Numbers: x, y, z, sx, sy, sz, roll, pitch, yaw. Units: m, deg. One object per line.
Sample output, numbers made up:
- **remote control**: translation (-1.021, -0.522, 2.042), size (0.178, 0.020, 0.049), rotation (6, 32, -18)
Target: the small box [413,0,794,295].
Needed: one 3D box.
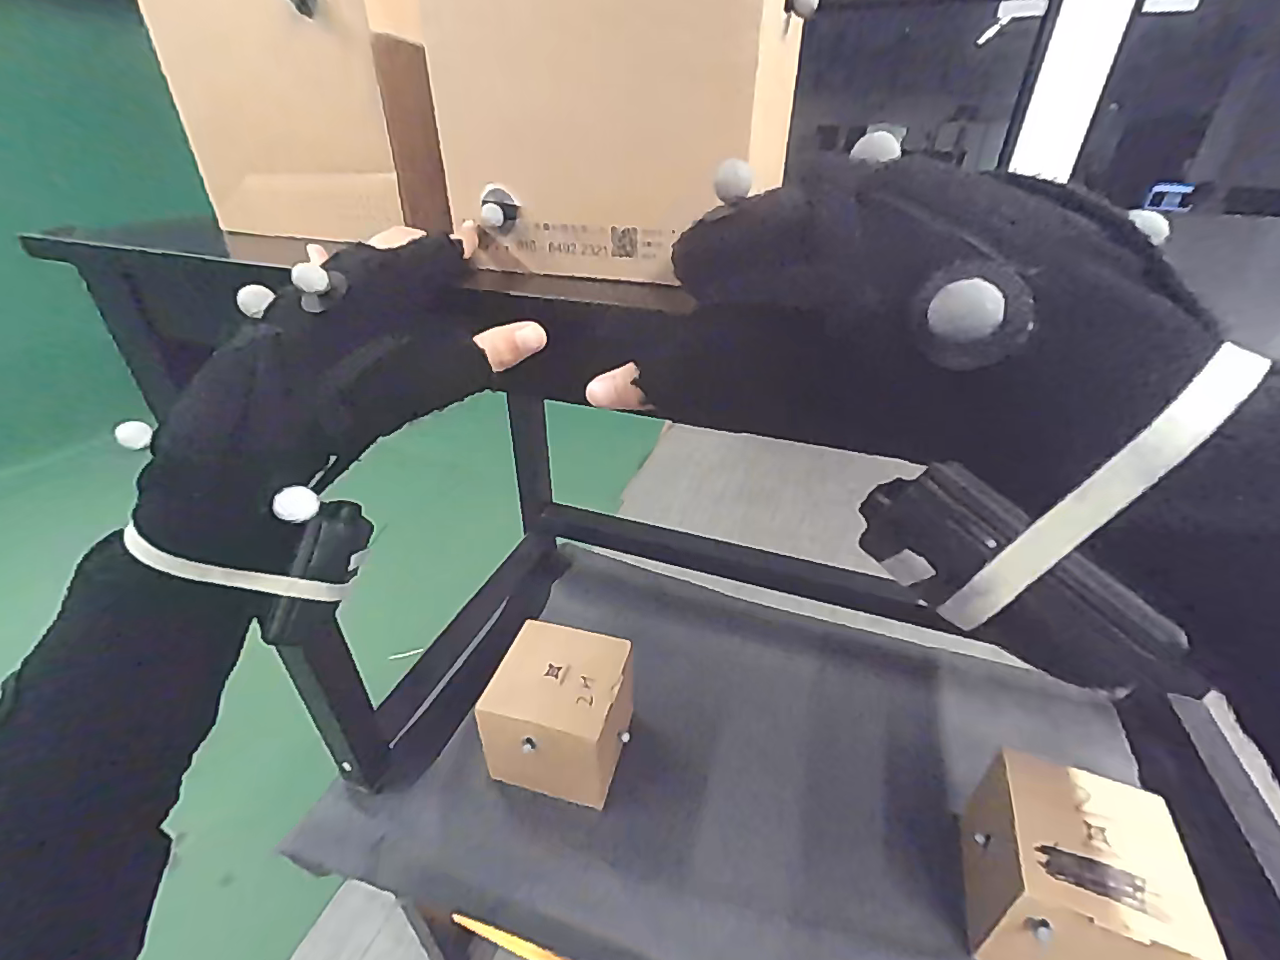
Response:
- **small box**: translation (-0.005, -0.218, 0.324), size (0.168, 0.176, 0.179), rotation (10, 34, 14)

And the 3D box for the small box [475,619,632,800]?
- **small box**: translation (-0.117, 0.339, 0.805), size (0.179, 0.176, 0.168), rotation (10, 34, 12)
